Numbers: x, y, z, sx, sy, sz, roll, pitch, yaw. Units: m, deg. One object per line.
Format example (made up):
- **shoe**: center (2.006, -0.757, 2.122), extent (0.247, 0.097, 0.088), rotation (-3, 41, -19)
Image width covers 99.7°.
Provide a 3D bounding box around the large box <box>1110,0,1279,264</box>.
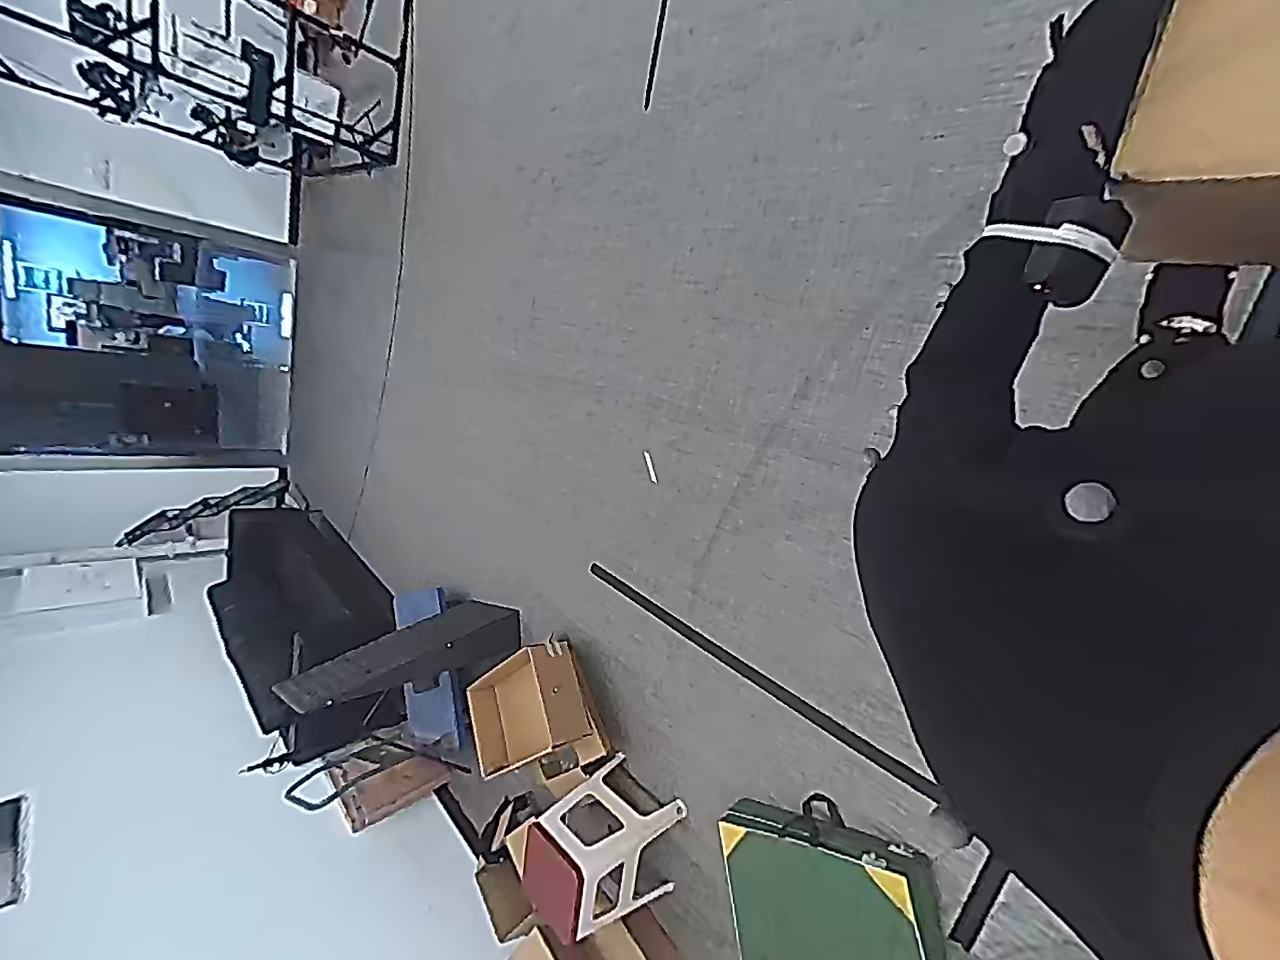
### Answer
- **large box**: center (0.613, -0.330, 0.352), extent (0.408, 0.320, 0.320), rotation (21, 111, 39)
